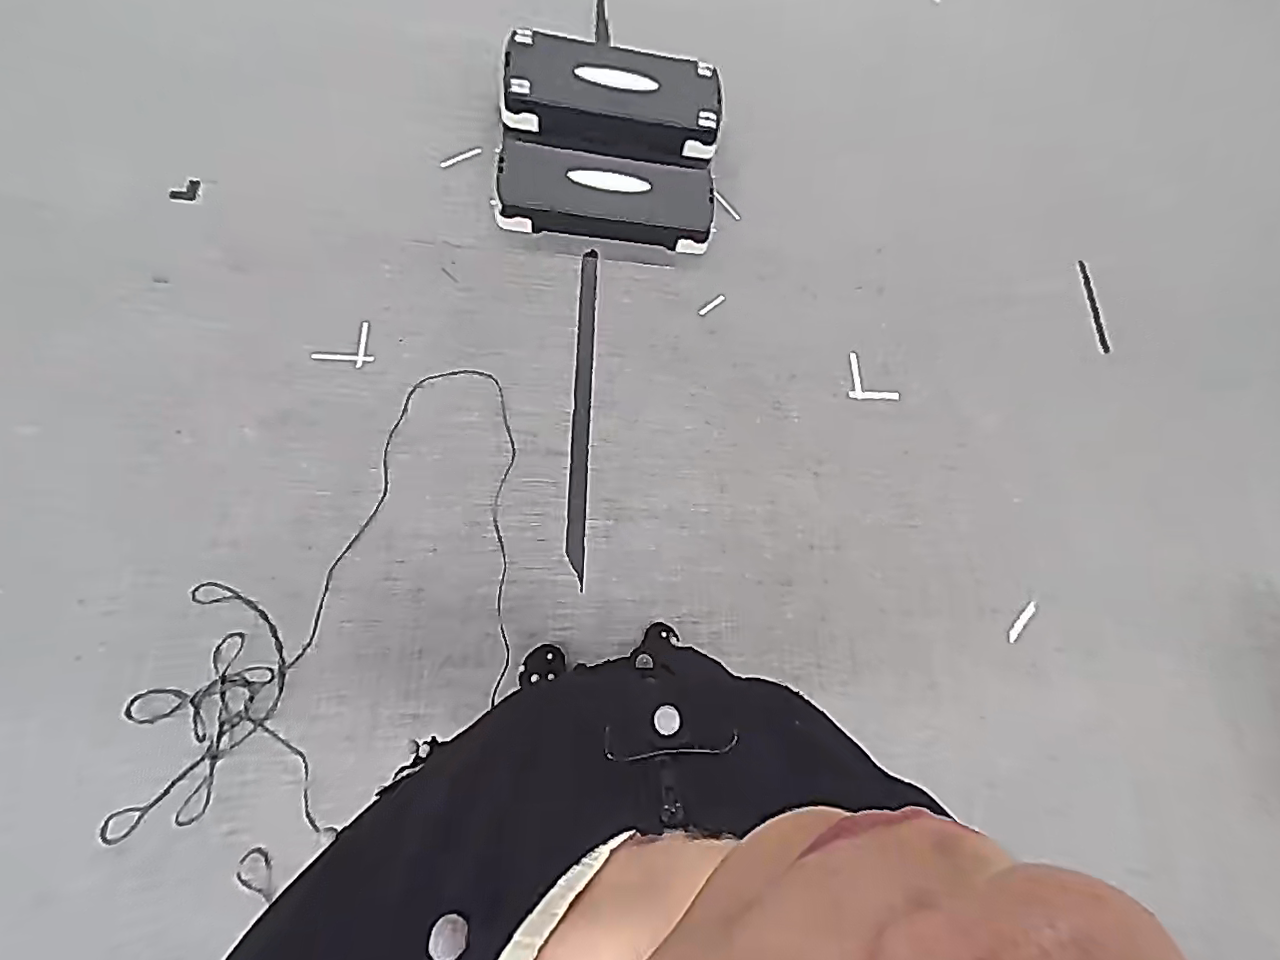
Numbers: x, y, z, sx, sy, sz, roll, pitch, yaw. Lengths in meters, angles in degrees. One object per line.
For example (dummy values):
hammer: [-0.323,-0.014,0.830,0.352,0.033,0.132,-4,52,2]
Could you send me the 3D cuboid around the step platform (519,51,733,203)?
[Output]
step platform: [-0.042,-1.138,1.755,0.684,0.204,0.286,8,72,-8]
